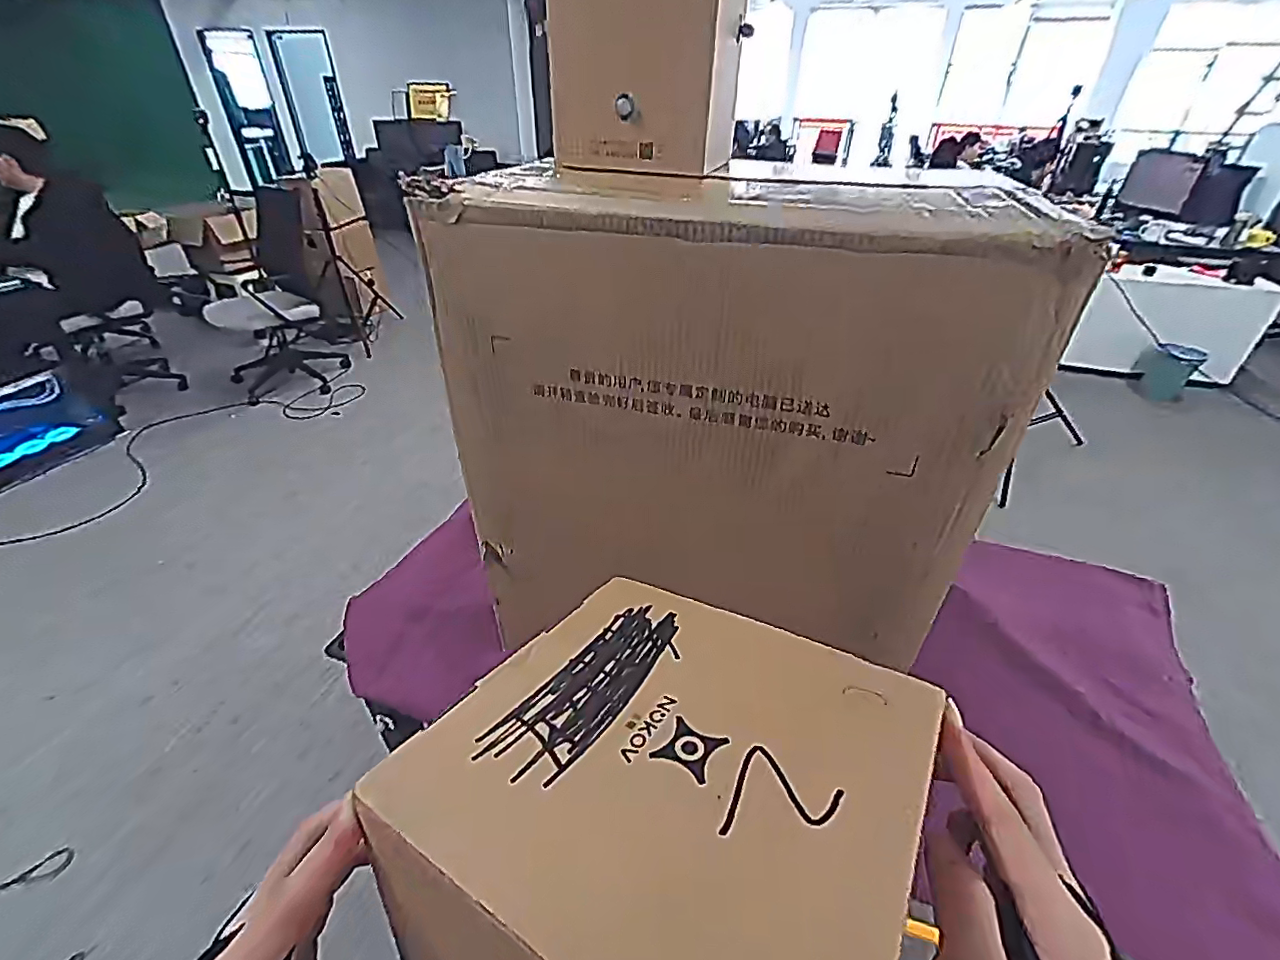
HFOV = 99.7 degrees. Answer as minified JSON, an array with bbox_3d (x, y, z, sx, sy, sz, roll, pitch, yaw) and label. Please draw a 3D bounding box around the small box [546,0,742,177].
[{"bbox_3d":[0.007,-0.434,0.580,0.168,0.176,0.179,11,36,13],"label":"small box"}]
